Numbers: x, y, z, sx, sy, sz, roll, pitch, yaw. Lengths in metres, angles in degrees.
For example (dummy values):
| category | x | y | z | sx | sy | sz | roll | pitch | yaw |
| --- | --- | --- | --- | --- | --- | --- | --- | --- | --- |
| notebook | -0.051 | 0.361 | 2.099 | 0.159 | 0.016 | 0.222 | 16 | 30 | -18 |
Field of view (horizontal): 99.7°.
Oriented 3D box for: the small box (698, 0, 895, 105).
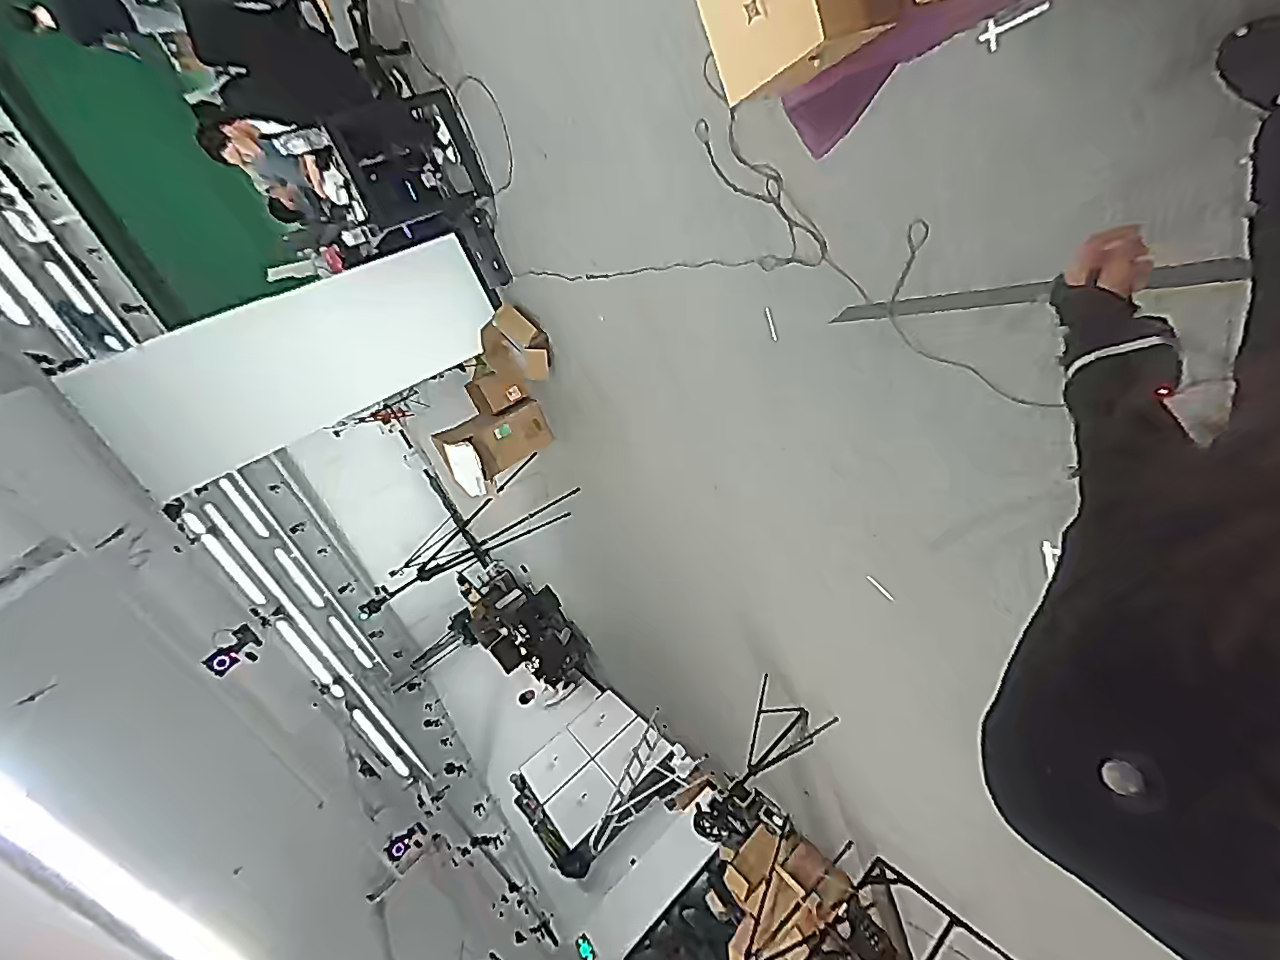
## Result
| category | x | y | z | sx | sy | sz | roll | pitch | yaw |
| --- | --- | --- | --- | --- | --- | --- | --- | --- | --- |
| small box | 0.209 | -0.654 | 0.735 | 0.179 | 0.176 | 0.168 | 8 | 128 | 57 |
